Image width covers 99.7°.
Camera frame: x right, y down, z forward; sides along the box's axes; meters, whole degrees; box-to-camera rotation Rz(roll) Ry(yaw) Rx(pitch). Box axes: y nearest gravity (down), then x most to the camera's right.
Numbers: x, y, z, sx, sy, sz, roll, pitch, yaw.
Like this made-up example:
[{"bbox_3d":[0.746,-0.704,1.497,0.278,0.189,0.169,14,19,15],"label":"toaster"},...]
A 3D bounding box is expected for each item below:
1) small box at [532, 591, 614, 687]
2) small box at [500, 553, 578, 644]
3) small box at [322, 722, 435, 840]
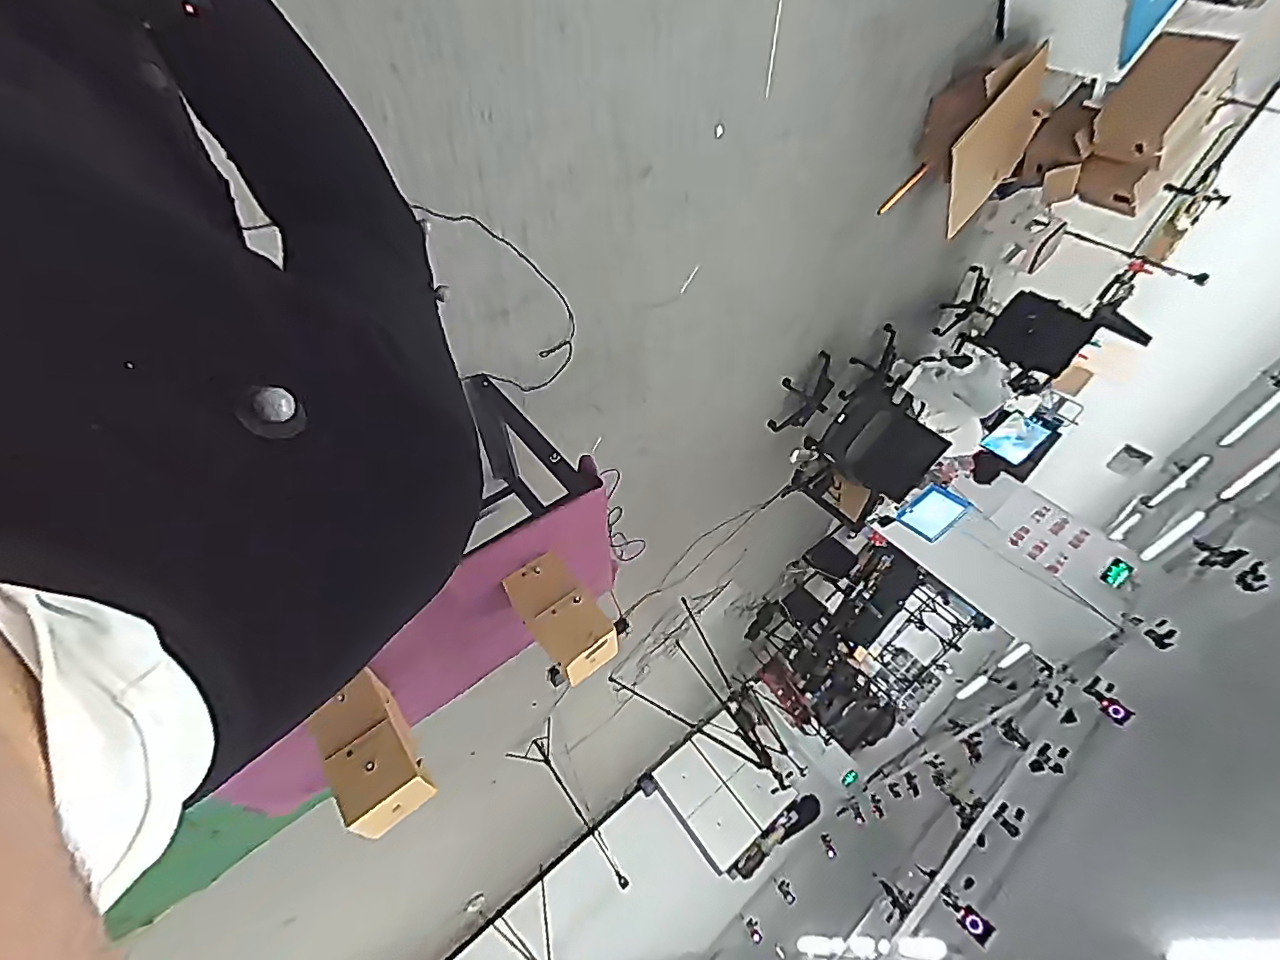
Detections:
[{"bbox_3d":[-0.189,0.440,1.525,0.168,0.176,0.179,-32,149,-24],"label":"small box"},{"bbox_3d":[-0.294,0.349,1.611,0.168,0.176,0.179,-32,147,-24],"label":"small box"},{"bbox_3d":[-0.625,0.714,1.295,0.168,0.176,0.179,-32,147,-24],"label":"small box"}]
